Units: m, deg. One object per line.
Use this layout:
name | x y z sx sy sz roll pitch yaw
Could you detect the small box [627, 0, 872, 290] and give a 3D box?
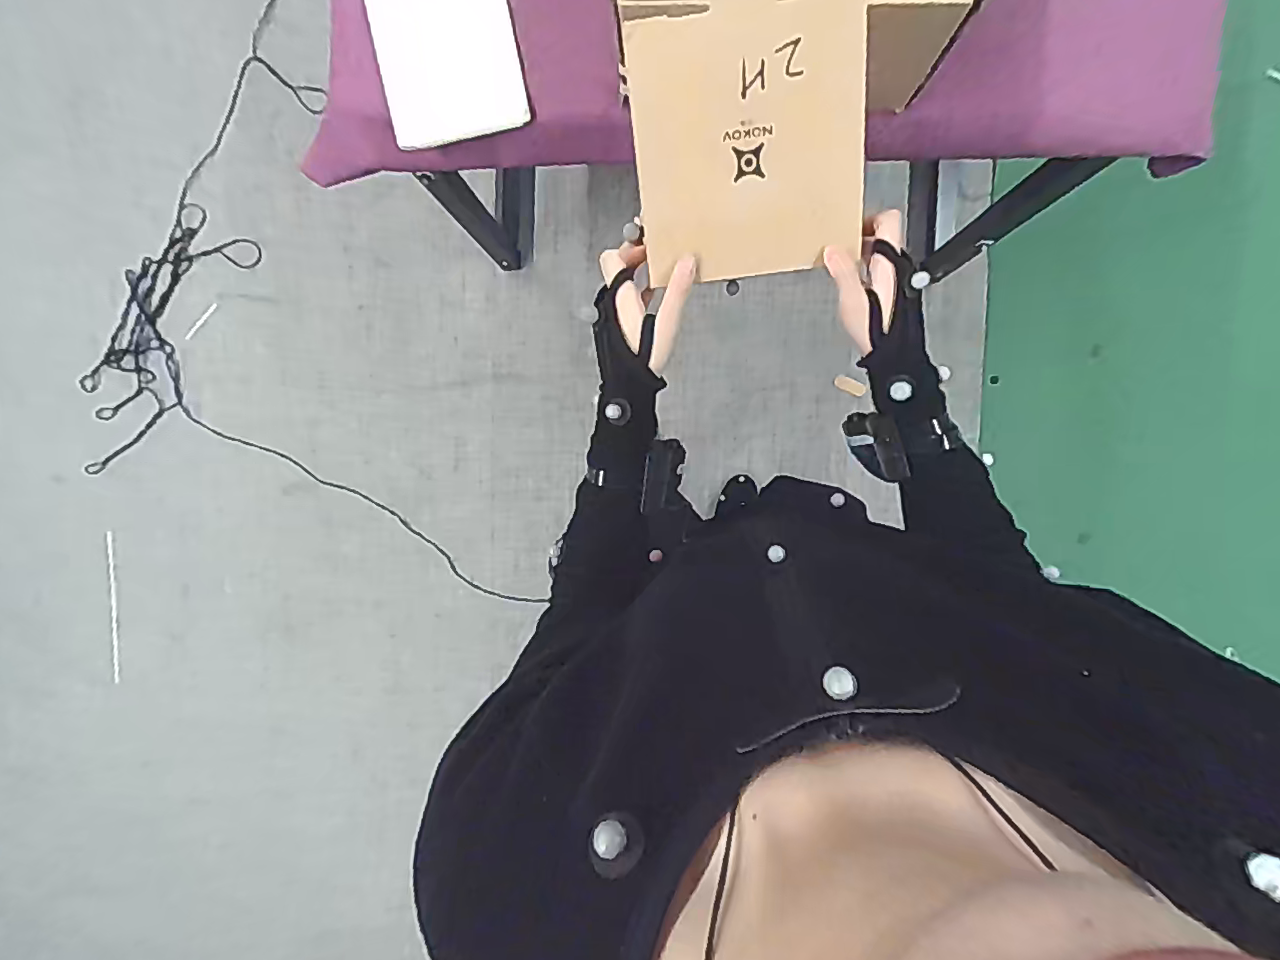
small box | 0.083 -0.266 0.465 0.168 0.176 0.179 -6 110 3
